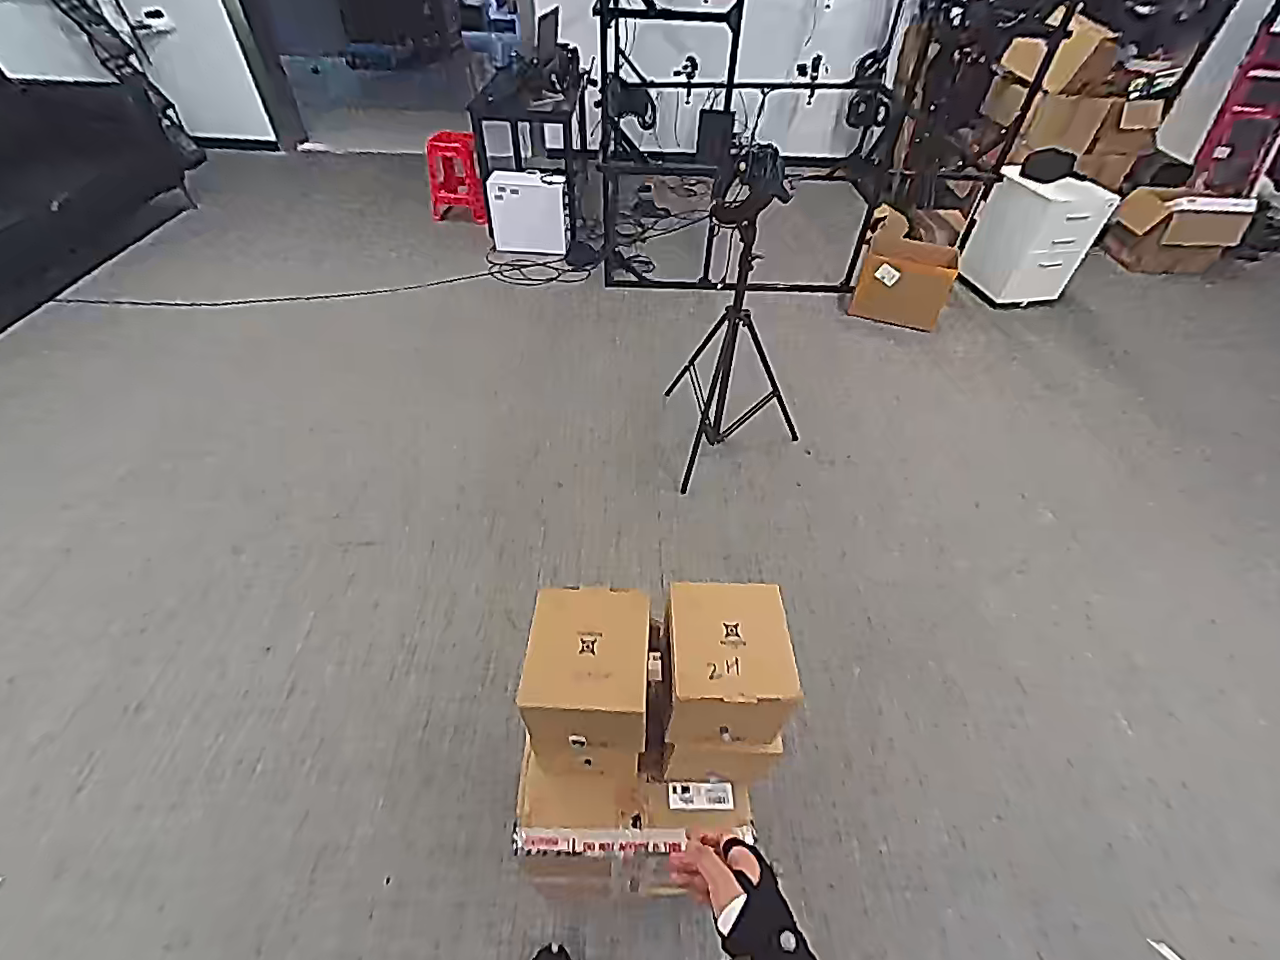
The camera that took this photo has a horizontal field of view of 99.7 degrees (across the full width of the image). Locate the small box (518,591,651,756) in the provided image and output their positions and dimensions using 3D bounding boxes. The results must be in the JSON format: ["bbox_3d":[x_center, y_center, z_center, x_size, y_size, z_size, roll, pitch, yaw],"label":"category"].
[{"bbox_3d":[-0.068,0.282,0.789,0.168,0.176,0.179,1,48,2],"label":"small box"}]

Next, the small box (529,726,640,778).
[{"bbox_3d":[-0.081,0.388,0.913,0.168,0.176,0.179,2,48,1],"label":"small box"}]

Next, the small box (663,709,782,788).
[{"bbox_3d":[0.128,0.399,0.915,0.168,0.176,0.179,3,47,-1],"label":"small box"}]

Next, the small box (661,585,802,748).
[{"bbox_3d":[0.121,0.277,0.803,0.168,0.176,0.179,1,47,-3],"label":"small box"}]
